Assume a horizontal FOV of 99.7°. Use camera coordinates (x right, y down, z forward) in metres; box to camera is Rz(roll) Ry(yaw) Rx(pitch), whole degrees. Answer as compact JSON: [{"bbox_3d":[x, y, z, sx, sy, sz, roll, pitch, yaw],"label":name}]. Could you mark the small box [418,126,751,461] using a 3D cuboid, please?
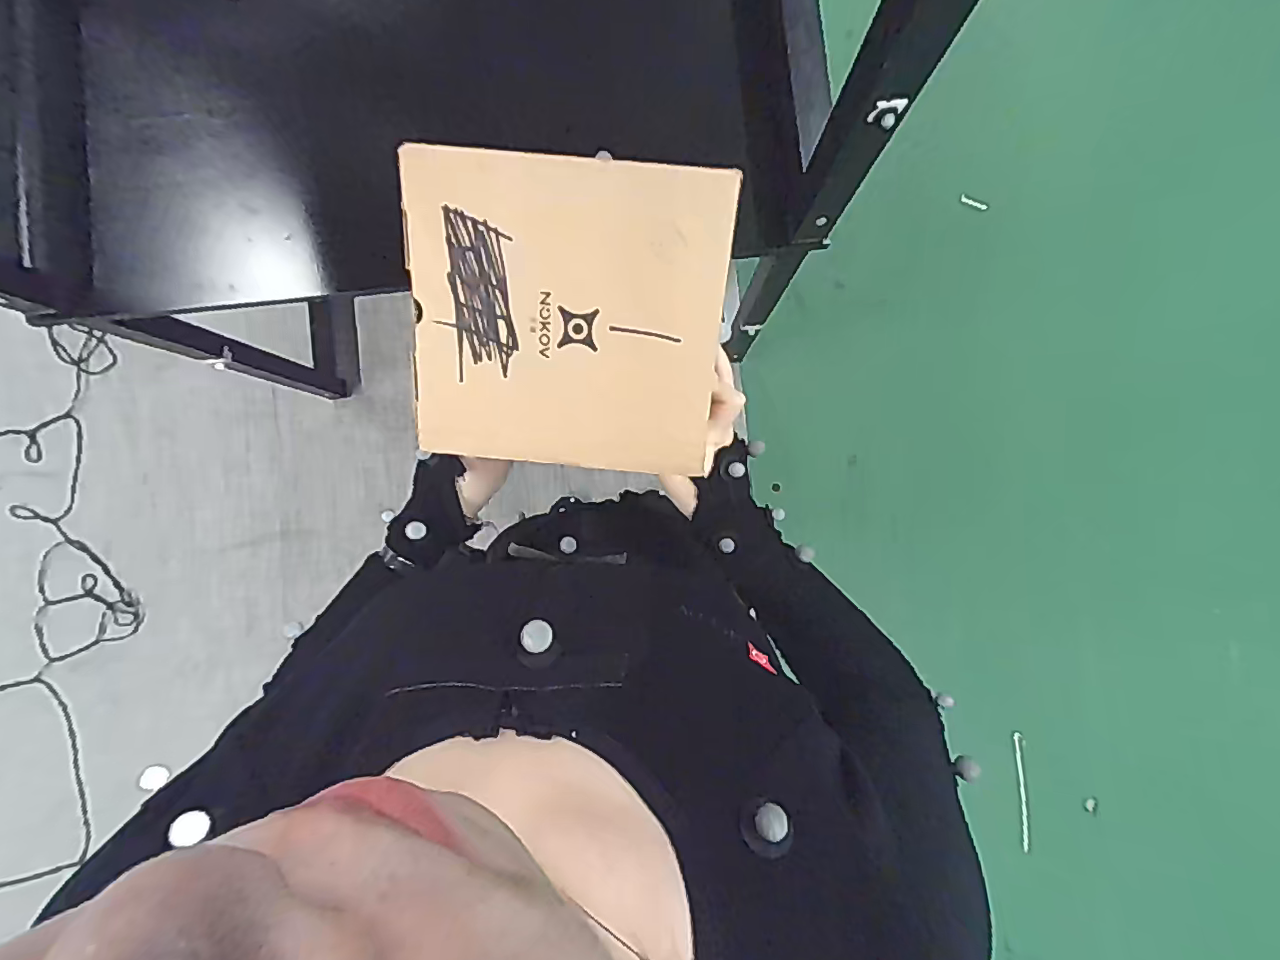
[{"bbox_3d":[-0.032,-0.125,0.379,0.179,0.176,0.168,6,112,1],"label":"small box"}]
